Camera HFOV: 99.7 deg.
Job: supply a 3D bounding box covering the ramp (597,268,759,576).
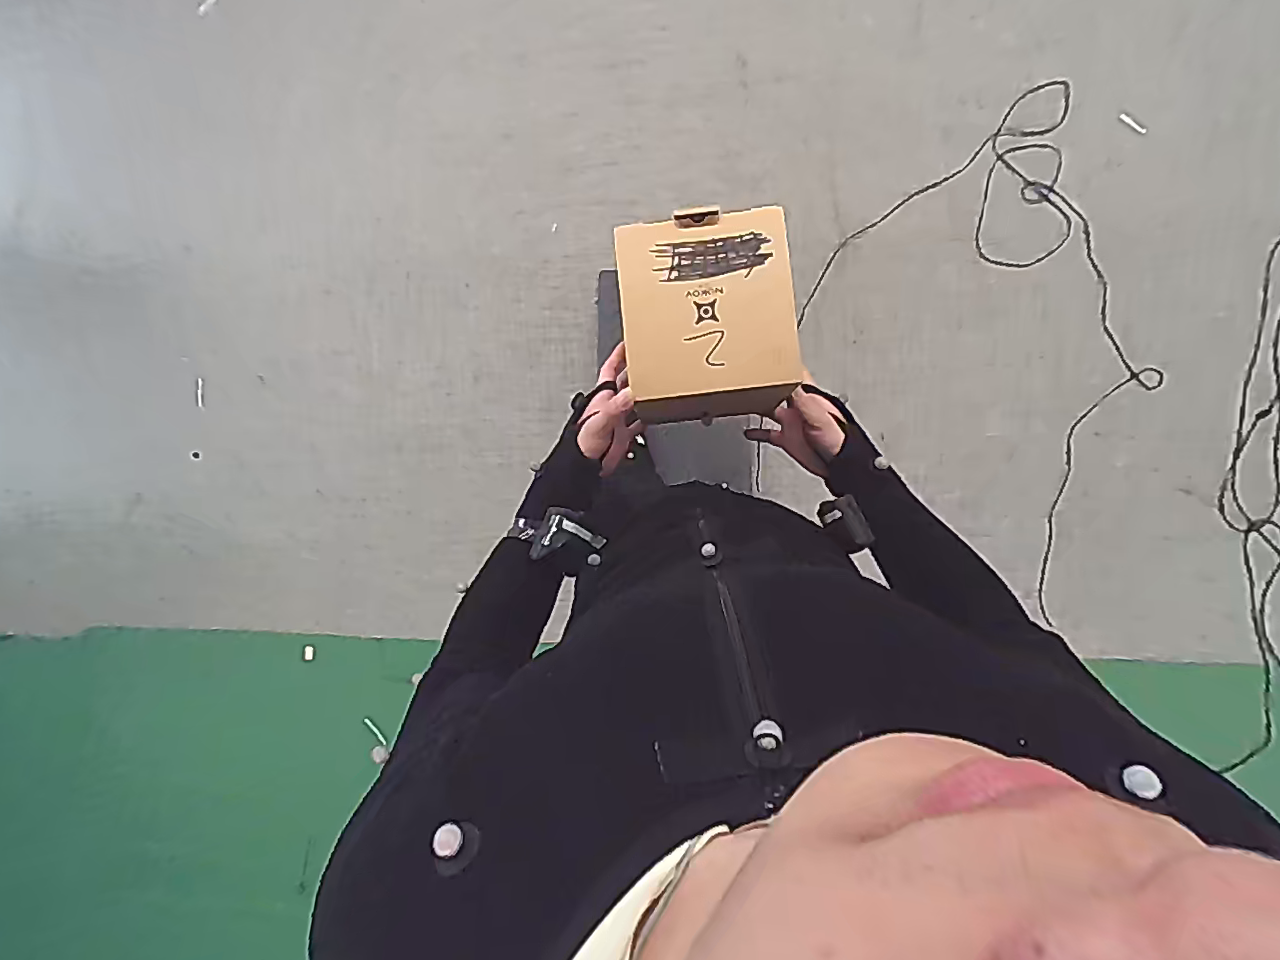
[{"bbox_3d":[0.110,-0.200,1.712,0.509,0.206,0.991,-2,90,7],"label":"ramp"}]
